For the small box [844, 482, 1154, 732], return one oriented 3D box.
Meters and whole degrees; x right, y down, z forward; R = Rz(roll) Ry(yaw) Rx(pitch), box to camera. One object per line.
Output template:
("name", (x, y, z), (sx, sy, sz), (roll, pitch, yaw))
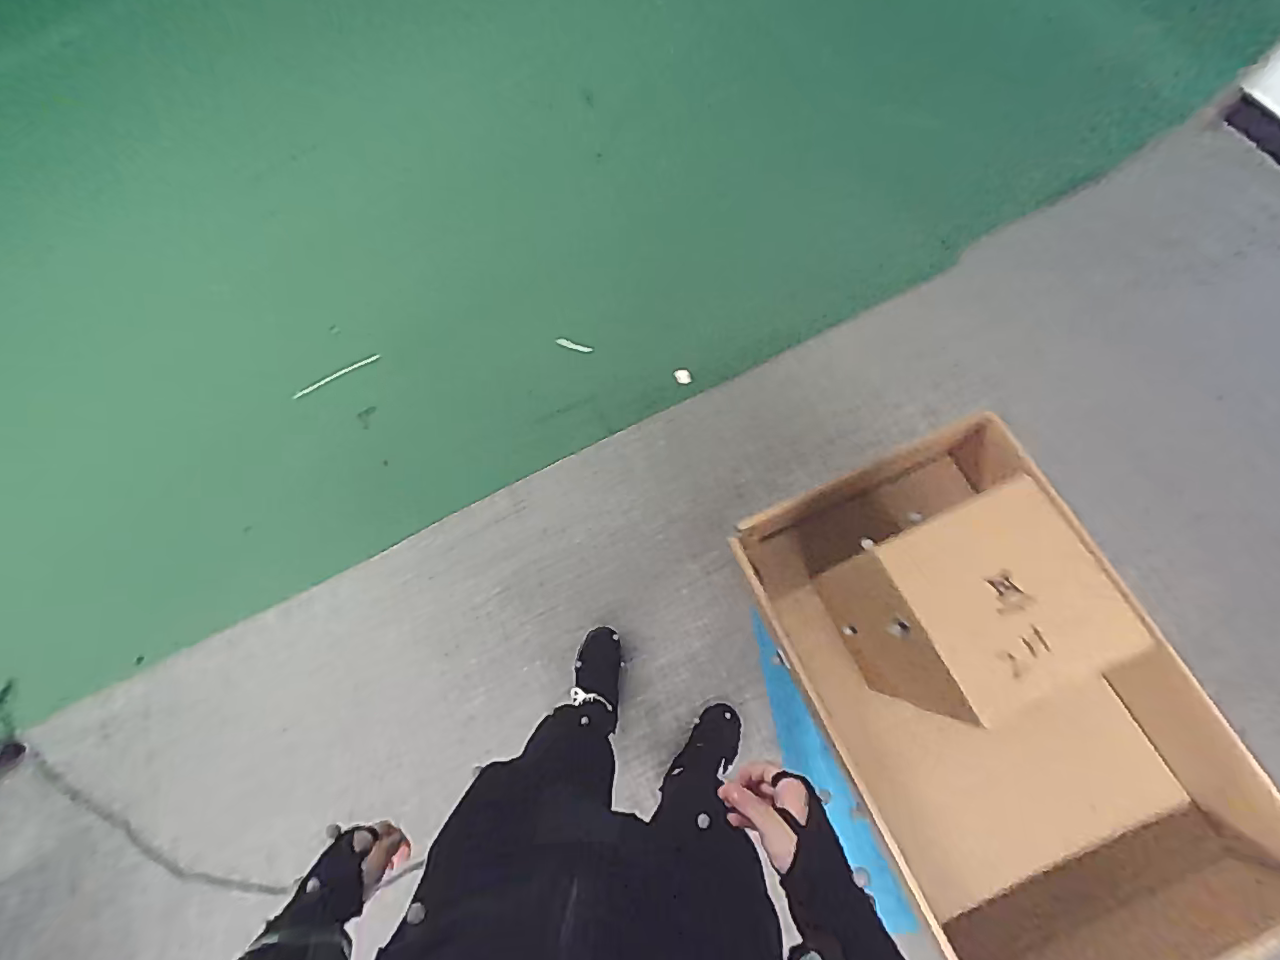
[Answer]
("small box", (0.338, 0.131, 0.558), (0.168, 0.176, 0.179), (-25, 73, -1))
